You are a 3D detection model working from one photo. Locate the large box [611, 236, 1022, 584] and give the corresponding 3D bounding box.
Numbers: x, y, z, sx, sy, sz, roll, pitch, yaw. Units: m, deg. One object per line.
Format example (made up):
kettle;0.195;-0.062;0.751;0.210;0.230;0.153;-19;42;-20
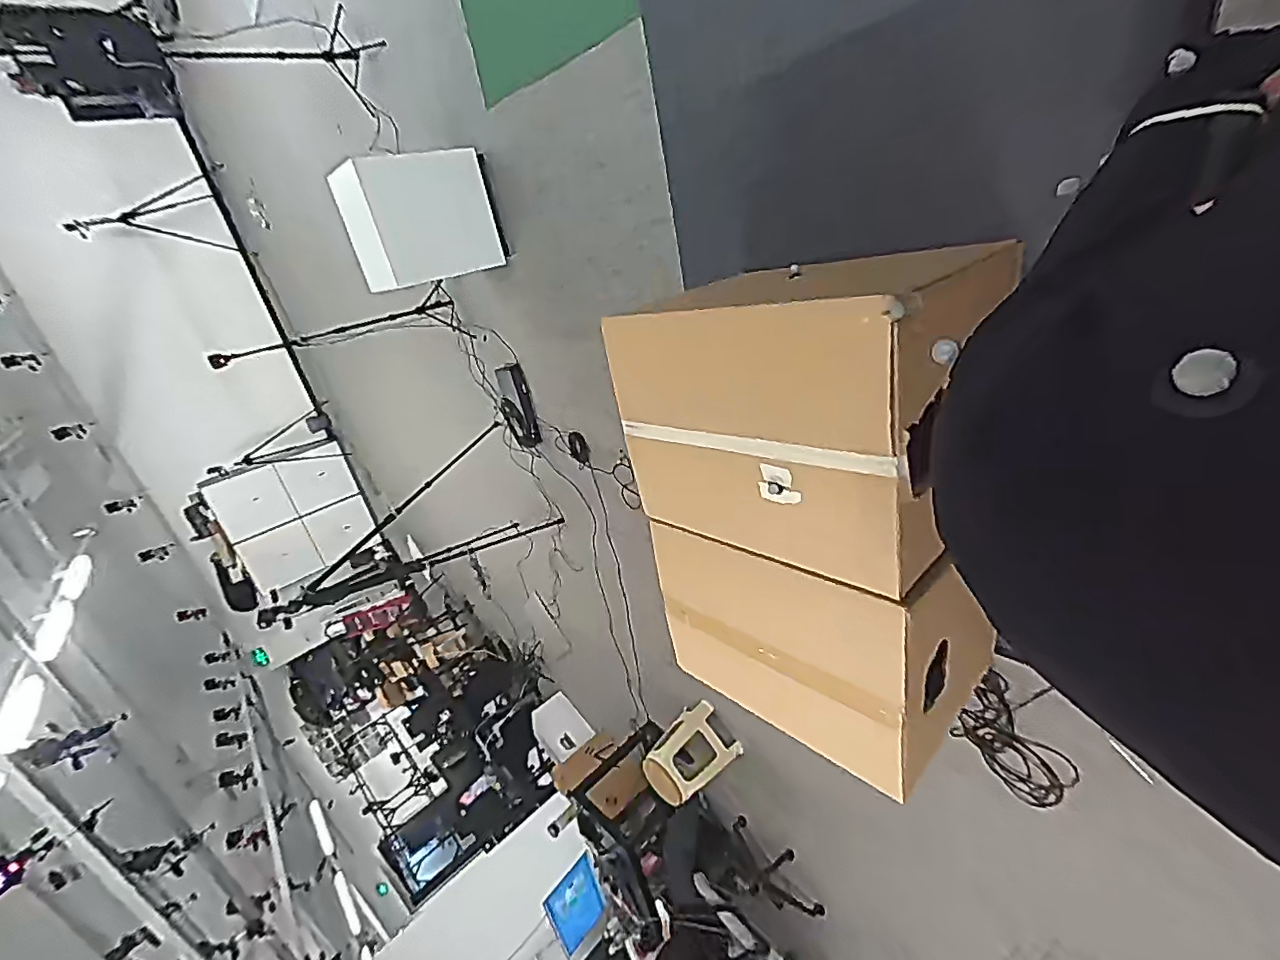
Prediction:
large box;0.225;-0.116;0.729;0.408;0.320;0.320;14;125;47
